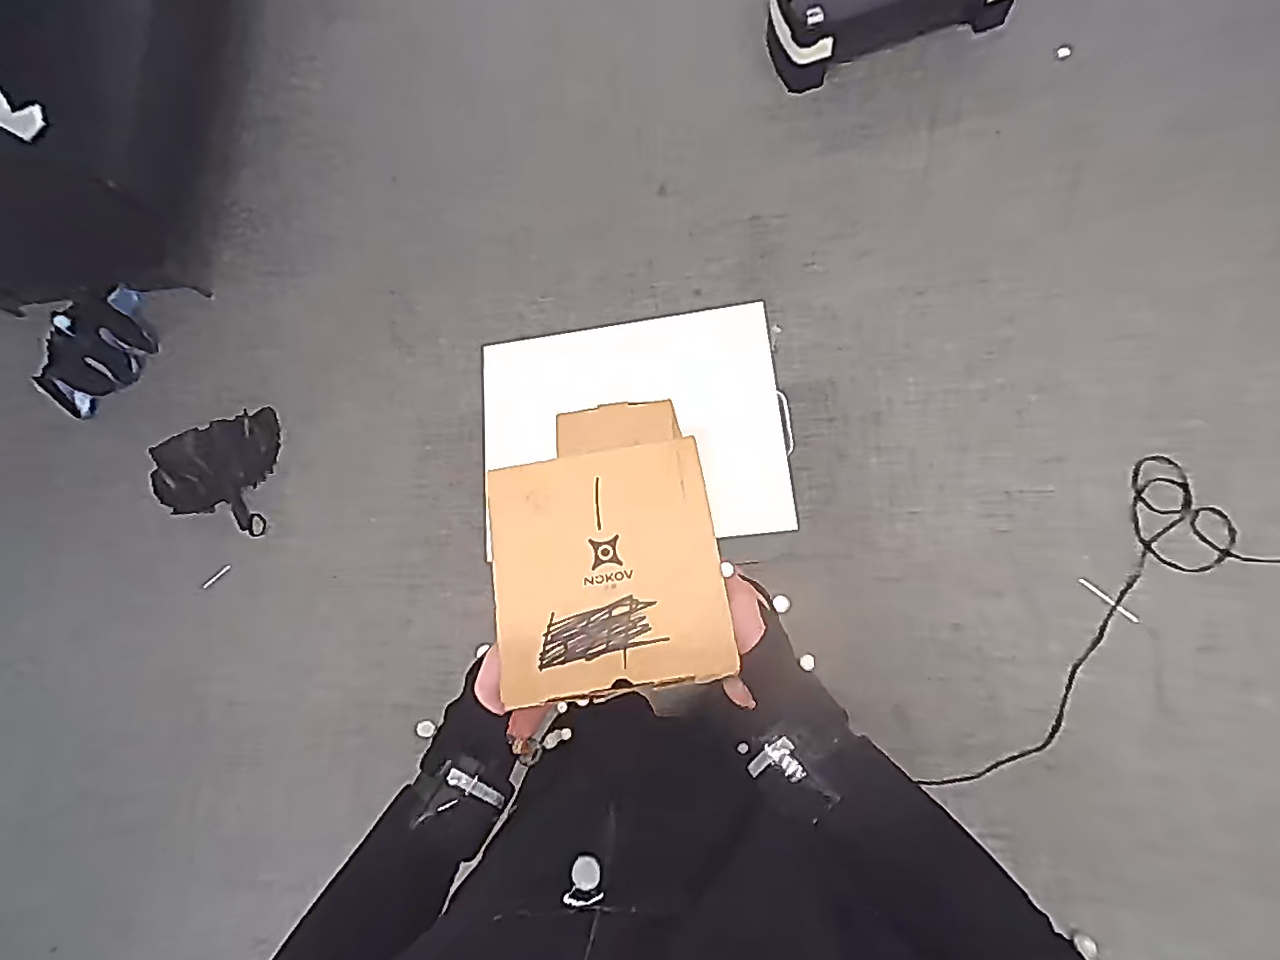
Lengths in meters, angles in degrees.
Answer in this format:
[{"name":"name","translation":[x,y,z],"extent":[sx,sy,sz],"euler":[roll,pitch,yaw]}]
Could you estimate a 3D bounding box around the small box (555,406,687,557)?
[{"name":"small box","translation":[-0.023,0.010,0.807],"extent":[0.168,0.176,0.179],"euler":[-7,73,8]}]
